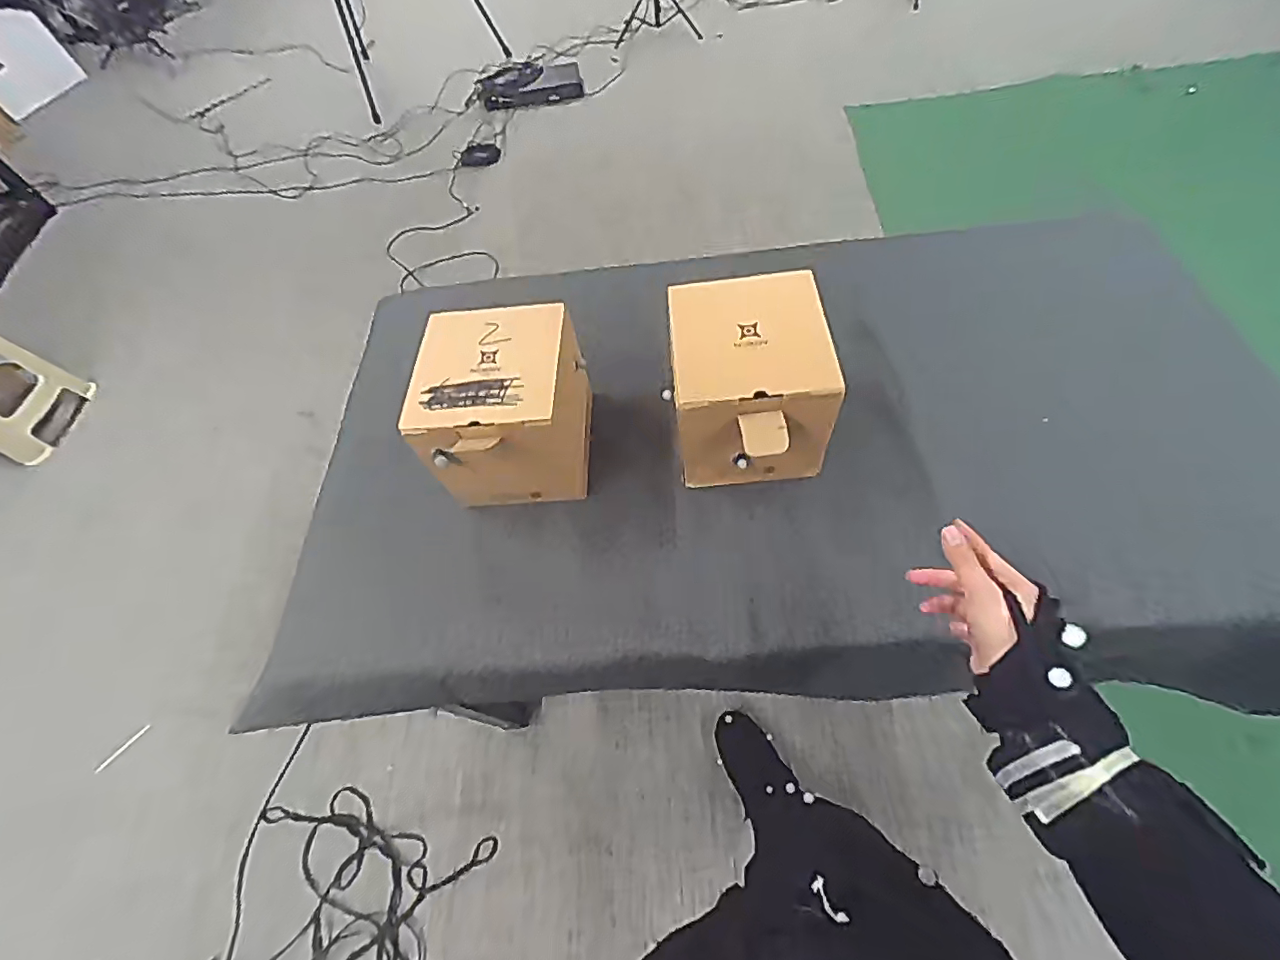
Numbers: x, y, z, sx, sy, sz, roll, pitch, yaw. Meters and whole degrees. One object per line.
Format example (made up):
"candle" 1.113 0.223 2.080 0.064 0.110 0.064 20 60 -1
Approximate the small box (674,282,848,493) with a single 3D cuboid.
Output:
"small box" 0.128 -0.104 0.642 0.168 0.176 0.179 -5 60 5
